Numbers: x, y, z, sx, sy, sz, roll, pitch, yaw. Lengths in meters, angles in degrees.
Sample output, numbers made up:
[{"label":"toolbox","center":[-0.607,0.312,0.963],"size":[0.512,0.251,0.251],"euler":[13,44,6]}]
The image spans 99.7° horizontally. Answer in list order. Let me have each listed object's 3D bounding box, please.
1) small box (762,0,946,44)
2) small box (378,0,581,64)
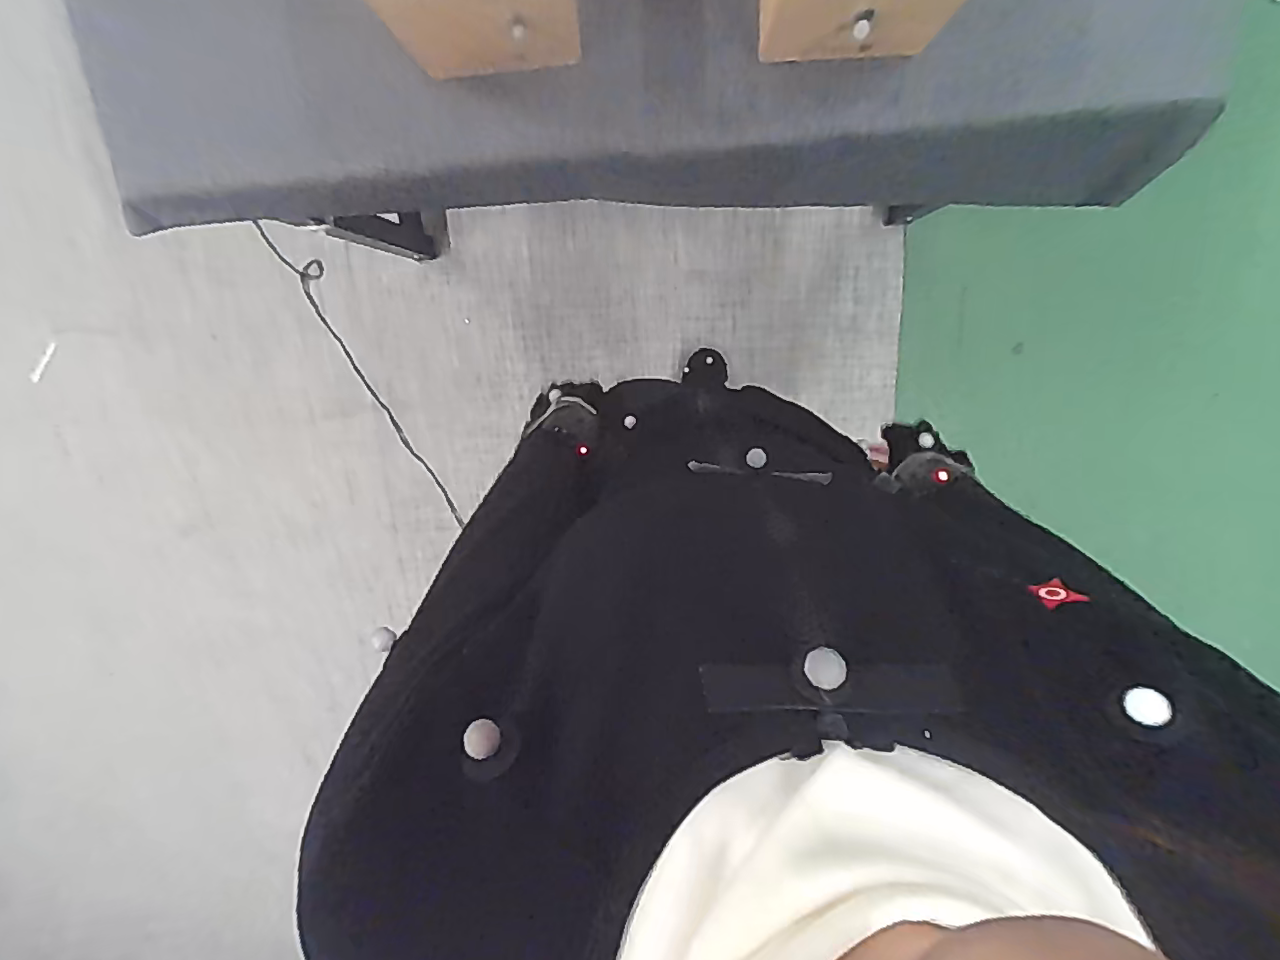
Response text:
[{"label":"small box","center":[0.201,-0.510,0.463],"size":[0.168,0.176,0.179],"euler":[-1,105,3]},{"label":"small box","center":[-0.150,-0.509,0.483],"size":[0.168,0.176,0.179],"euler":[-5,103,2]}]
